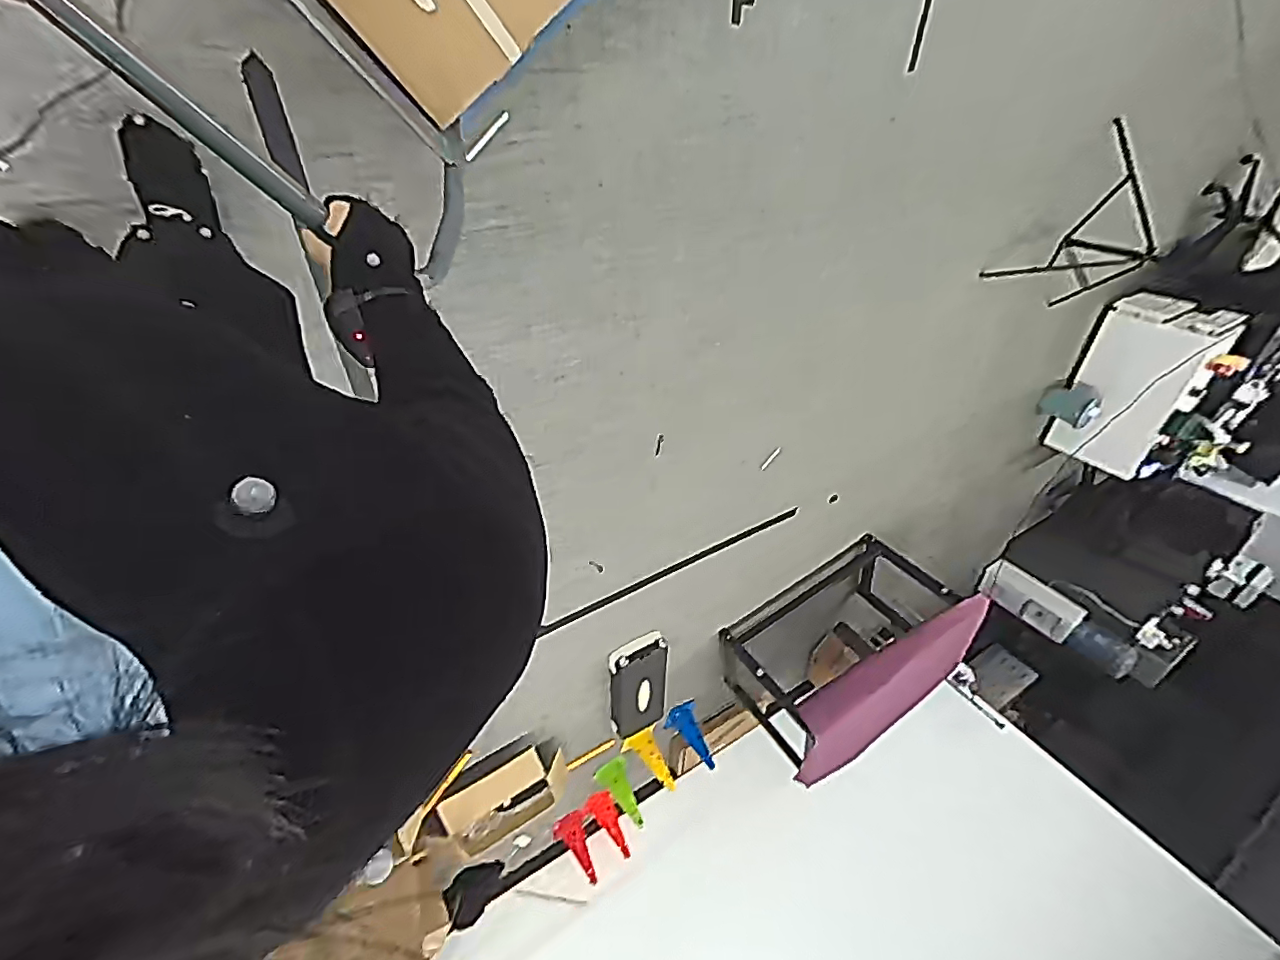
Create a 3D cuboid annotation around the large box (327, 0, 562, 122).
[{"bbox_3d":[-0.342,-0.832,0.757,0.320,0.320,0.408,-33,140,16],"label":"large box"}]
